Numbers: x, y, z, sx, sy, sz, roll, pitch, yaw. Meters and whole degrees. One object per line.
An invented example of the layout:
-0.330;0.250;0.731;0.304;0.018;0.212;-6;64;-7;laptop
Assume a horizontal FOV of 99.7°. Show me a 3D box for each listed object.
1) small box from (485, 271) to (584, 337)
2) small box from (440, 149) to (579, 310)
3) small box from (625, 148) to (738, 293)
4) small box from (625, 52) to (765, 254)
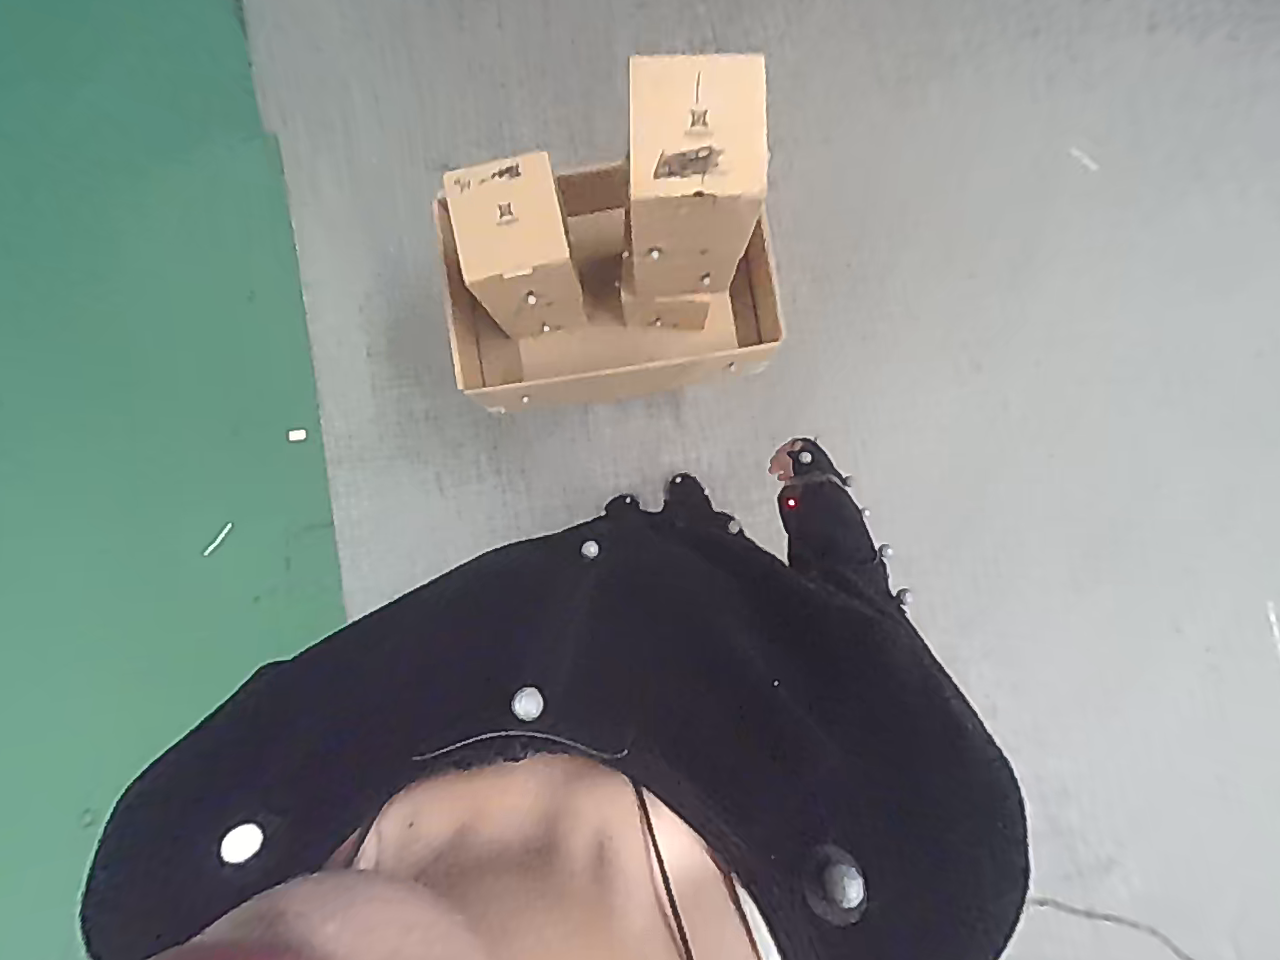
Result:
-0.210;-0.398;1.047;0.168;0.176;0.179;-12;88;1;small box
-0.202;-0.392;0.882;0.168;0.176;0.179;-12;88;0;small box
0.064;-0.415;0.882;0.168;0.176;0.179;-3;88;0;small box
0.067;-0.418;0.718;0.168;0.176;0.179;0;87;0;small box
